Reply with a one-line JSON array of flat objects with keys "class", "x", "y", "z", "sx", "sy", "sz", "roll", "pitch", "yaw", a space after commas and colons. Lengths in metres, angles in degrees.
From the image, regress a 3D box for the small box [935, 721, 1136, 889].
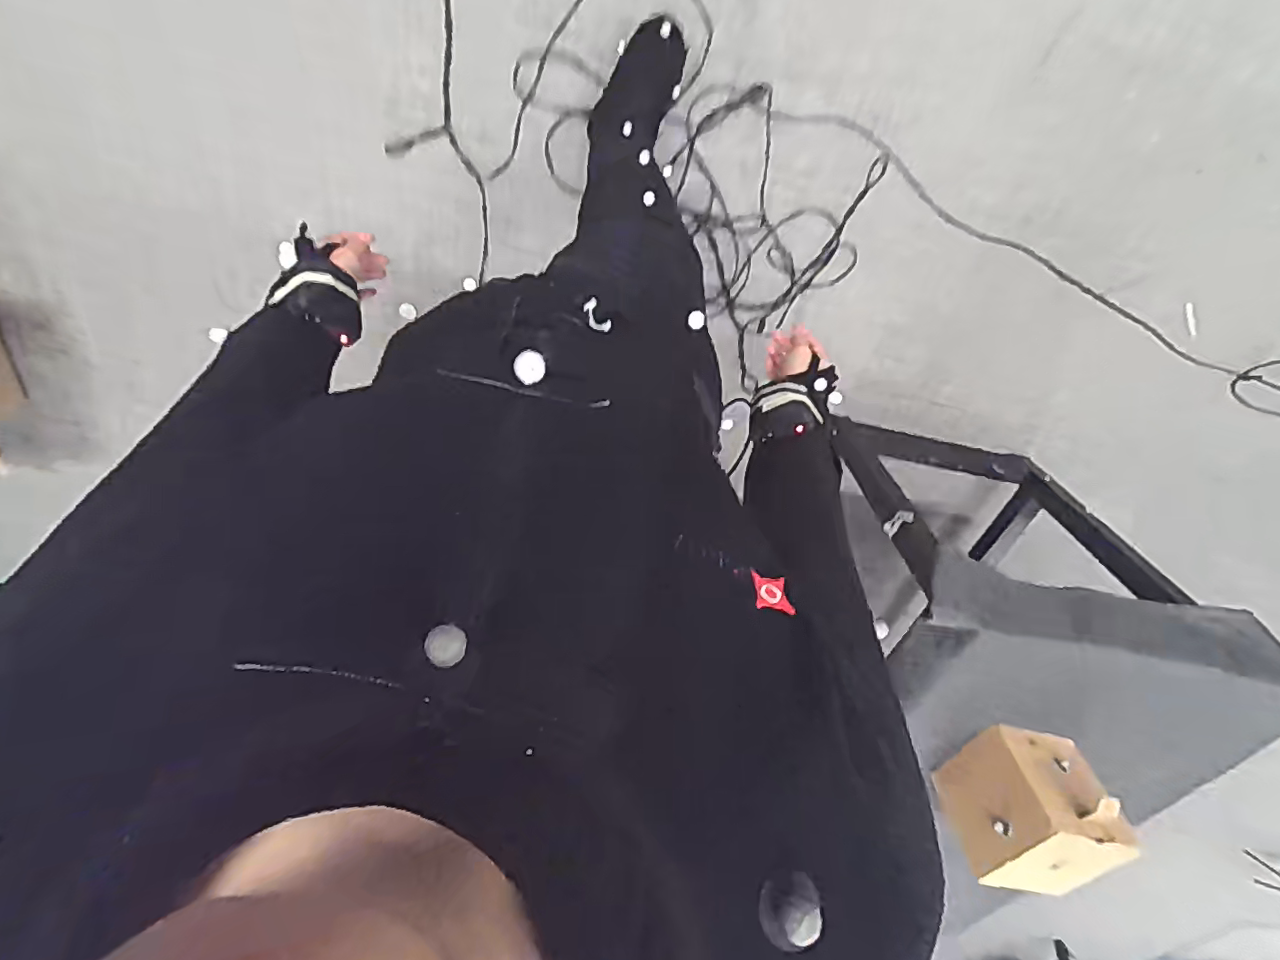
[{"class": "small box", "x": 0.621, "y": 0.529, "z": 0.884, "sx": 0.168, "sy": 0.176, "sz": 0.179, "roll": 16, "pitch": 121, "yaw": -12}]
